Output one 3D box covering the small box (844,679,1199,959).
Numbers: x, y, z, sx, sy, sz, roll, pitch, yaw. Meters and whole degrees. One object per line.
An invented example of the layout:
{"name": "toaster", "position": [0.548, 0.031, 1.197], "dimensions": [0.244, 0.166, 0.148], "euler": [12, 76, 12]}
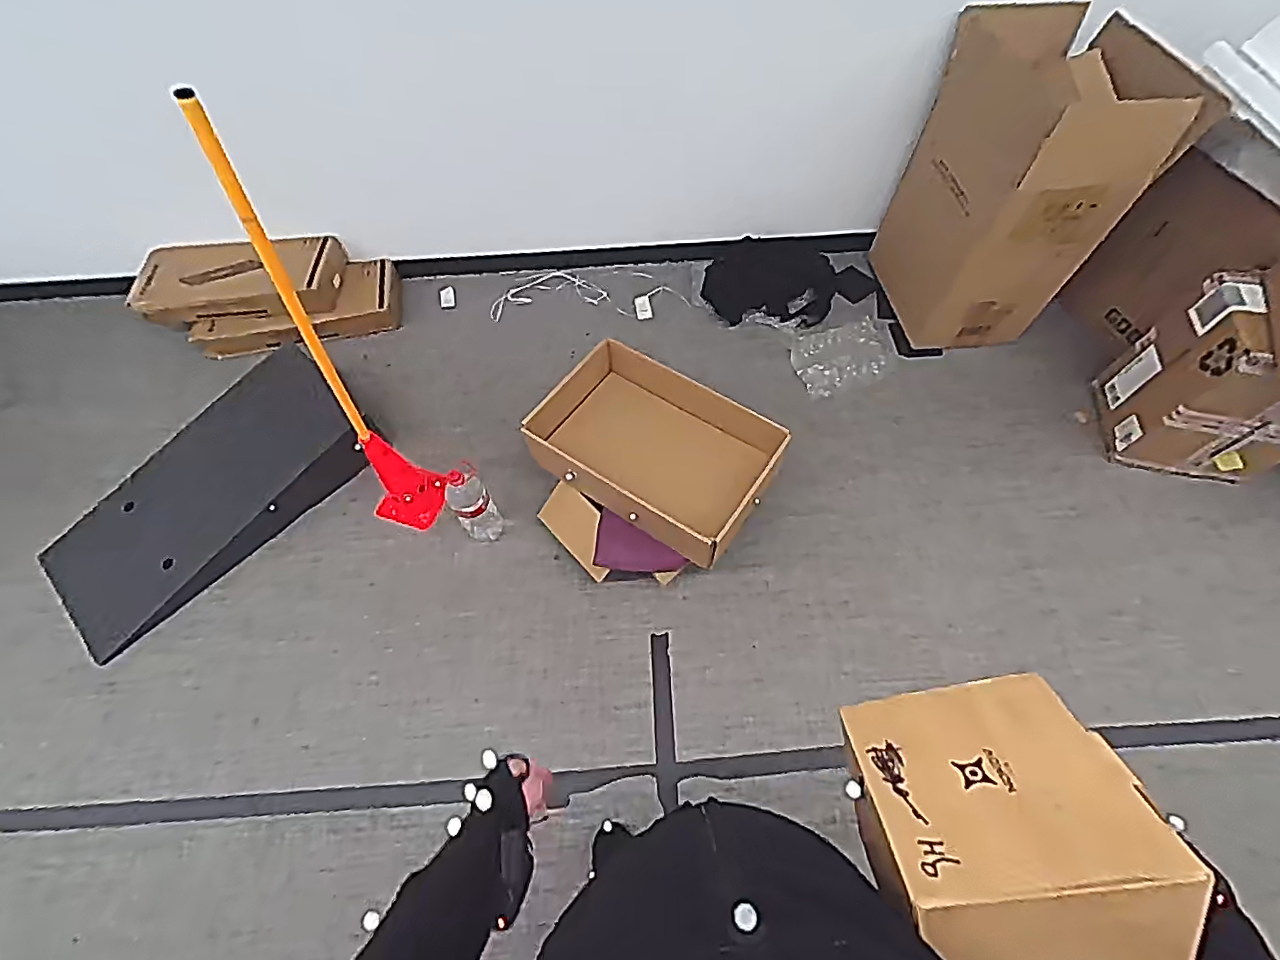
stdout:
{"name": "small box", "position": [0.288, 0.300, 0.450], "dimensions": [0.179, 0.176, 0.168], "euler": [-13, 22, 8]}
